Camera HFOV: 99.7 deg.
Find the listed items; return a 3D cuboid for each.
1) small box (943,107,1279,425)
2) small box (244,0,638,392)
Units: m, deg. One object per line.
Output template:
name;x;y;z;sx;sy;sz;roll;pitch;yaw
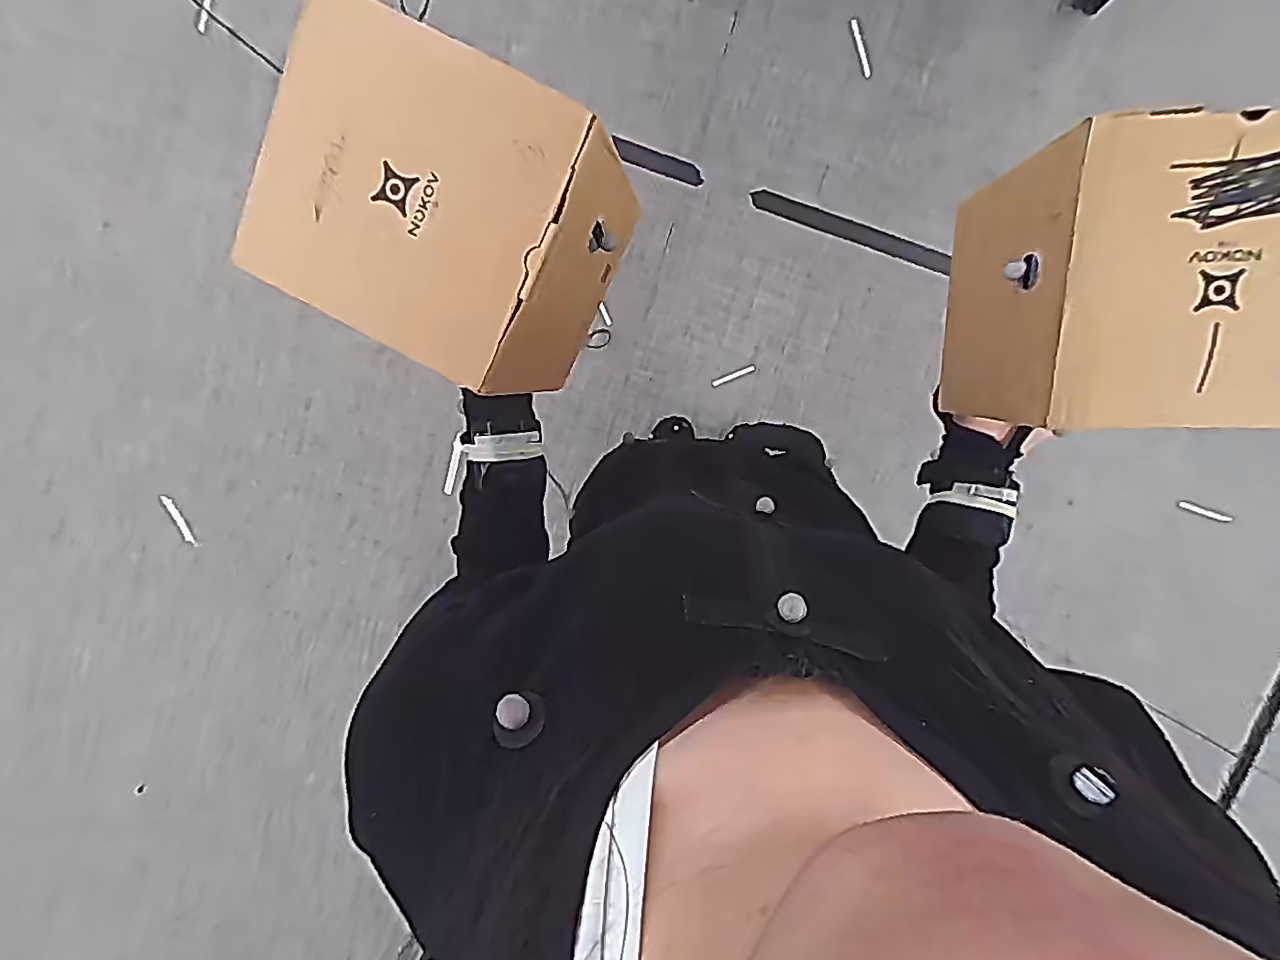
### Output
small box;0.342;-0.133;0.389;0.168;0.176;0.179;1;101;7
small box;-0.116;-0.176;0.383;0.179;0.176;0.168;28;102;3
